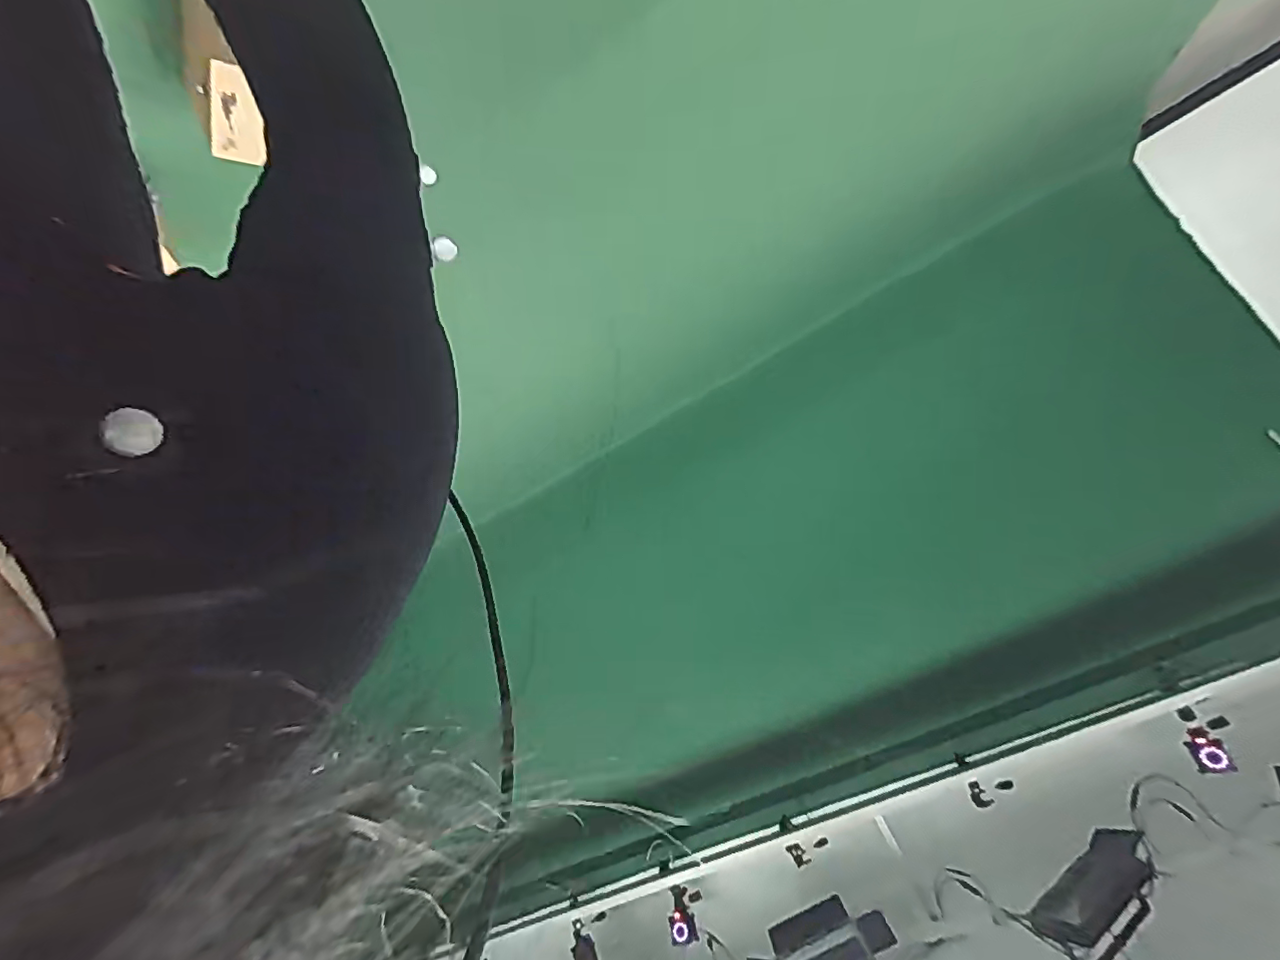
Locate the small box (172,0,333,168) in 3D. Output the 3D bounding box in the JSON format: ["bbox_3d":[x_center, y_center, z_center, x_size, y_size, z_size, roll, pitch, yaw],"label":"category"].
[{"bbox_3d":[-0.645,-0.666,0.901,0.179,0.176,0.168,-16,164,-43],"label":"small box"}]

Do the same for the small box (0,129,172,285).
[{"bbox_3d":[-0.993,-0.482,0.958,0.179,0.176,0.168,-22,169,-21],"label":"small box"}]
